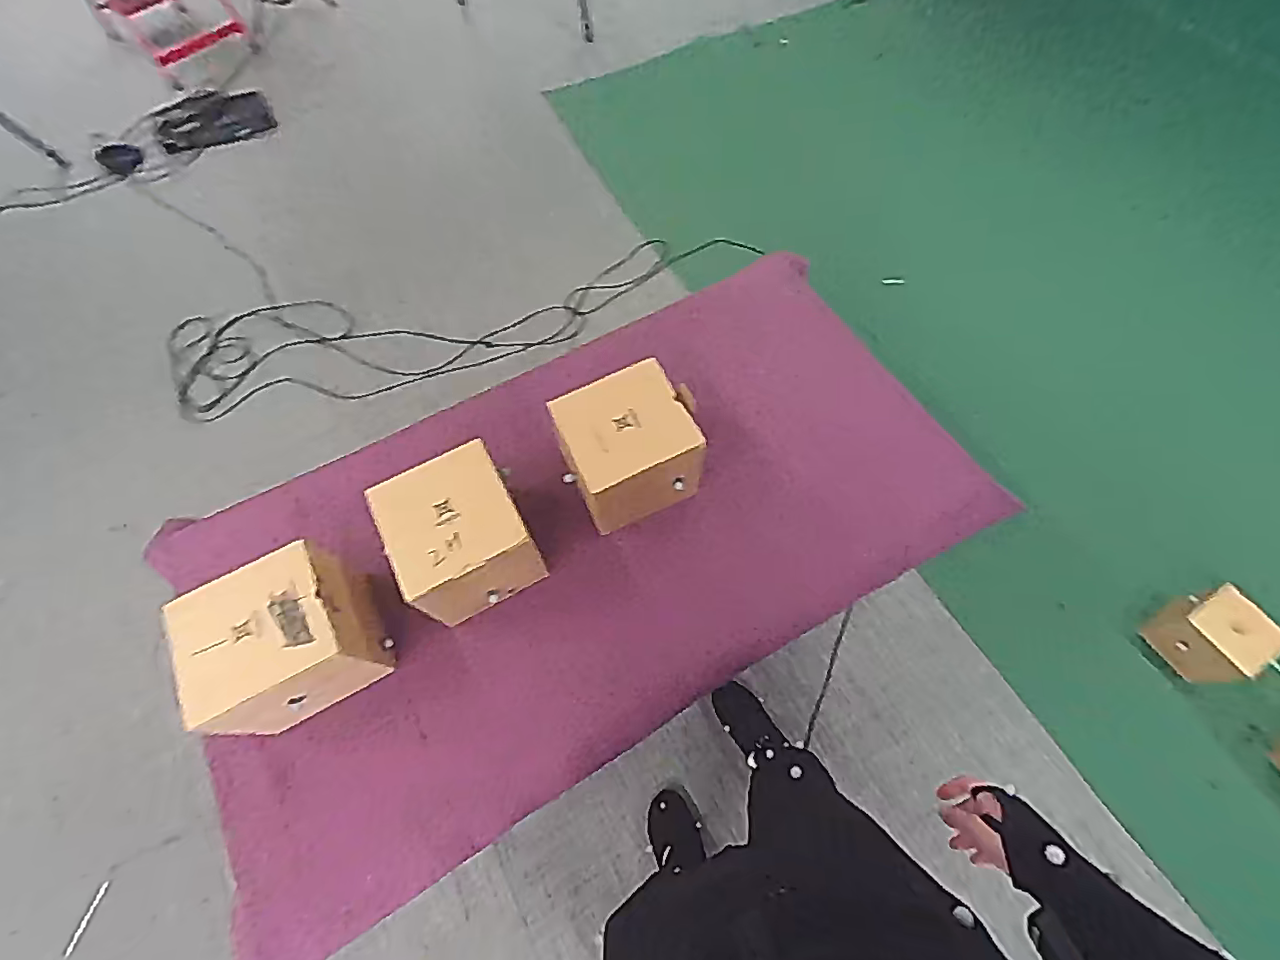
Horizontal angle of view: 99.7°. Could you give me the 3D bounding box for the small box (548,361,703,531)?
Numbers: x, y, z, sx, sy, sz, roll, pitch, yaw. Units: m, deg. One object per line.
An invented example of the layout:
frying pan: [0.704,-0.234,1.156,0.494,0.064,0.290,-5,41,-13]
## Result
small box: [-0.022,-0.046,0.833,0.179,0.176,0.168,-24,66,-9]

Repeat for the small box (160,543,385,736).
small box: [-0.464,0.212,0.712,0.179,0.176,0.168,-28,68,-11]

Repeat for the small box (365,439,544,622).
small box: [-0.254,0.079,0.774,0.168,0.176,0.179,-27,68,-11]

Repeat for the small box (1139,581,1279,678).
small box: [1.471,0.394,1.410,0.179,0.176,0.168,-29,67,-14]
